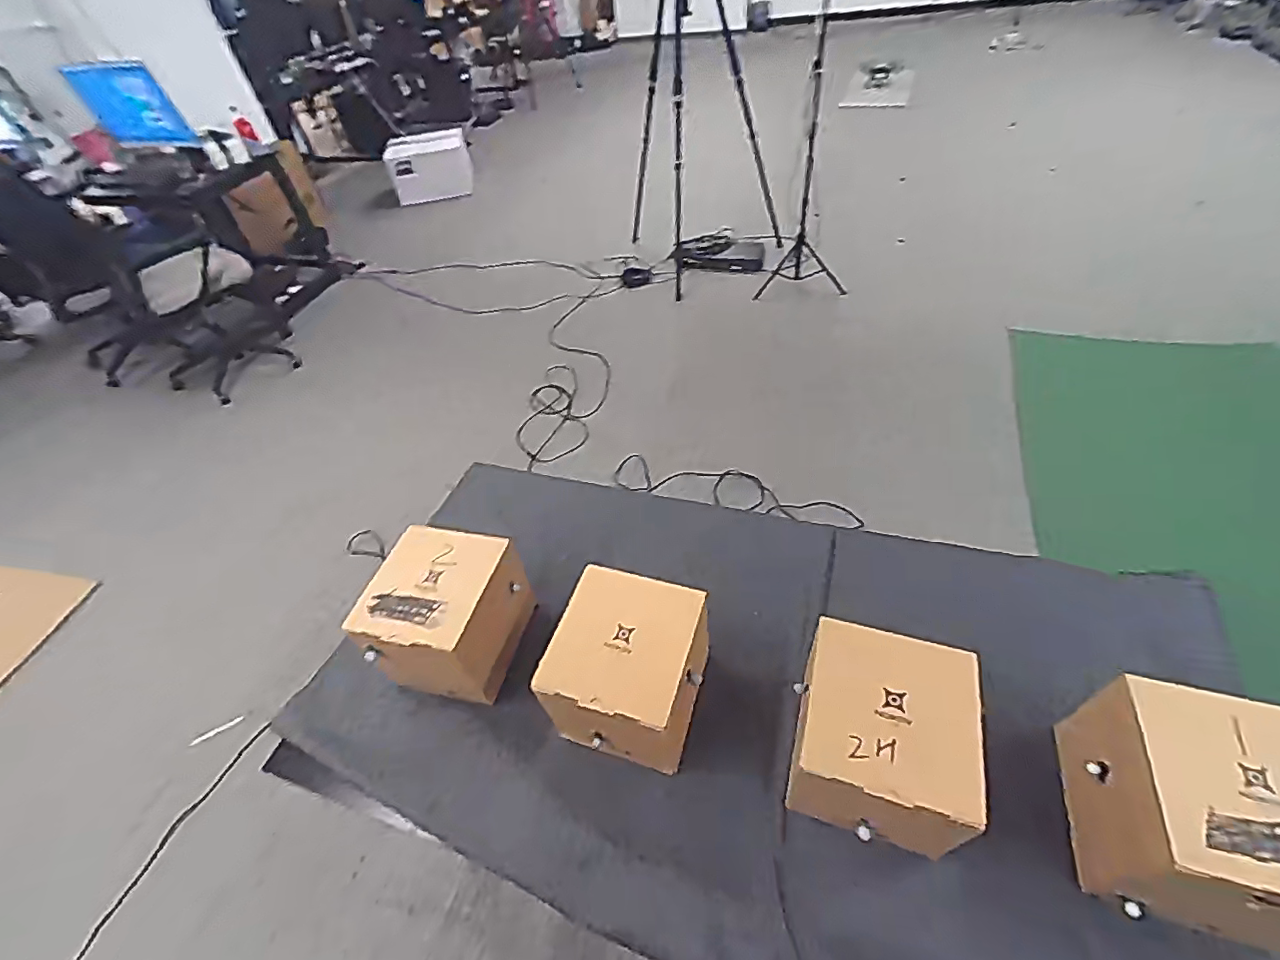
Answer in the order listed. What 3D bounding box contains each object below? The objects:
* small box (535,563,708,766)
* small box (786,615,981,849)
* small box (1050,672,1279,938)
[{"bbox_3d":[-0.013,0.241,0.708,0.168,0.176,0.179,11,51,16],"label":"small box"},{"bbox_3d":[0.269,0.290,0.624,0.168,0.176,0.179,11,50,17],"label":"small box"},{"bbox_3d":[0.556,0.330,0.550,0.168,0.176,0.179,10,50,16],"label":"small box"}]
